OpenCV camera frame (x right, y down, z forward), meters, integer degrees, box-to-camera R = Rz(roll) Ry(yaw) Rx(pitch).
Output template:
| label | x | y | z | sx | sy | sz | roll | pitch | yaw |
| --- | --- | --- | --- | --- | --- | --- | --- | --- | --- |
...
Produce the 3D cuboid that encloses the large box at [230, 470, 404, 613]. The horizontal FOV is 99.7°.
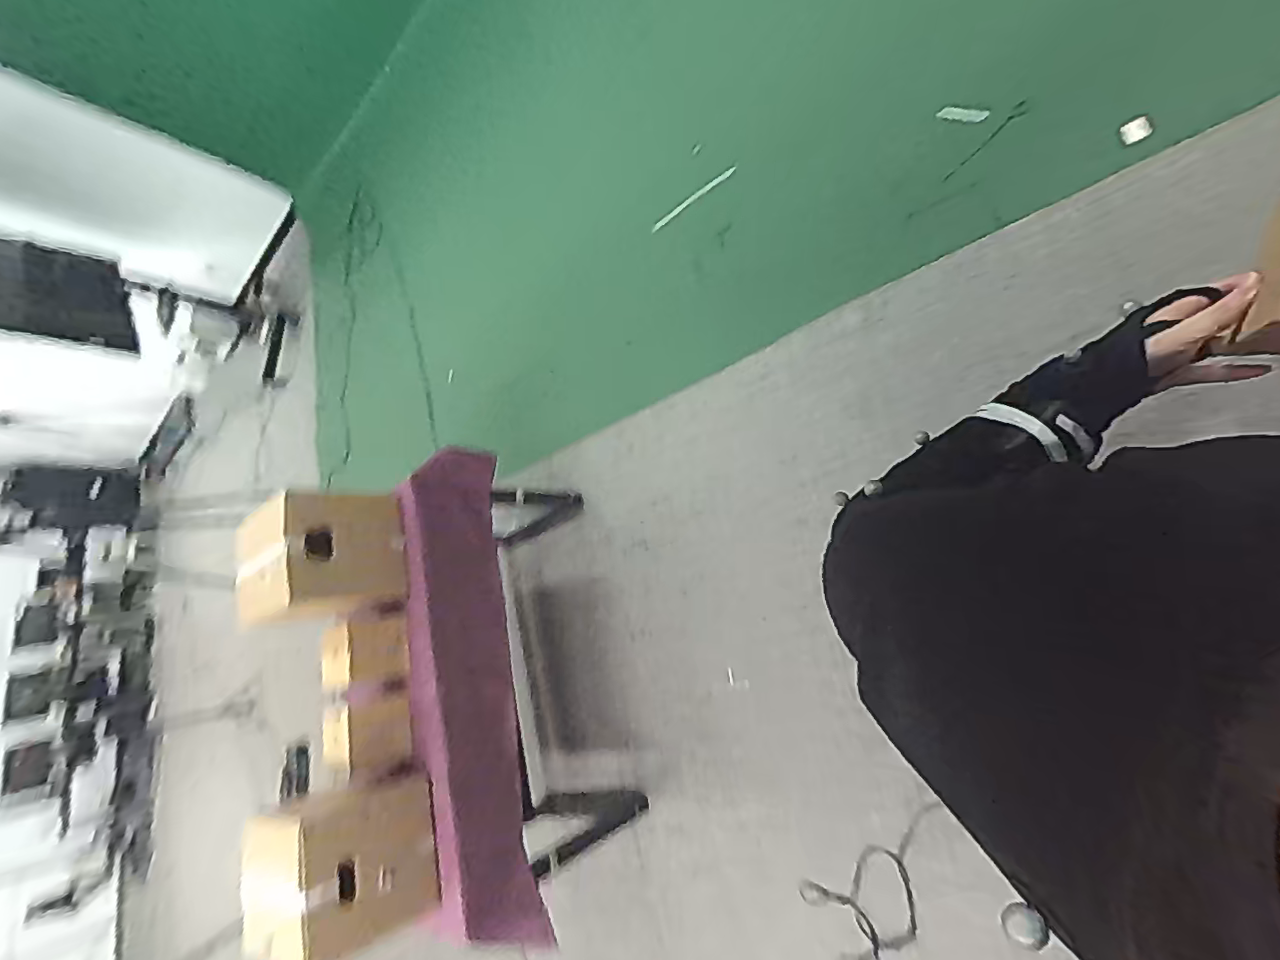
| label | x | y | z | sx | sy | sz | roll | pitch | yaw |
| --- | --- | --- | --- | --- | --- | --- | --- | --- | --- |
| large box | -0.954 | 0.190 | 1.592 | 0.408 | 0.320 | 0.320 | -21 | 74 | 35 |
